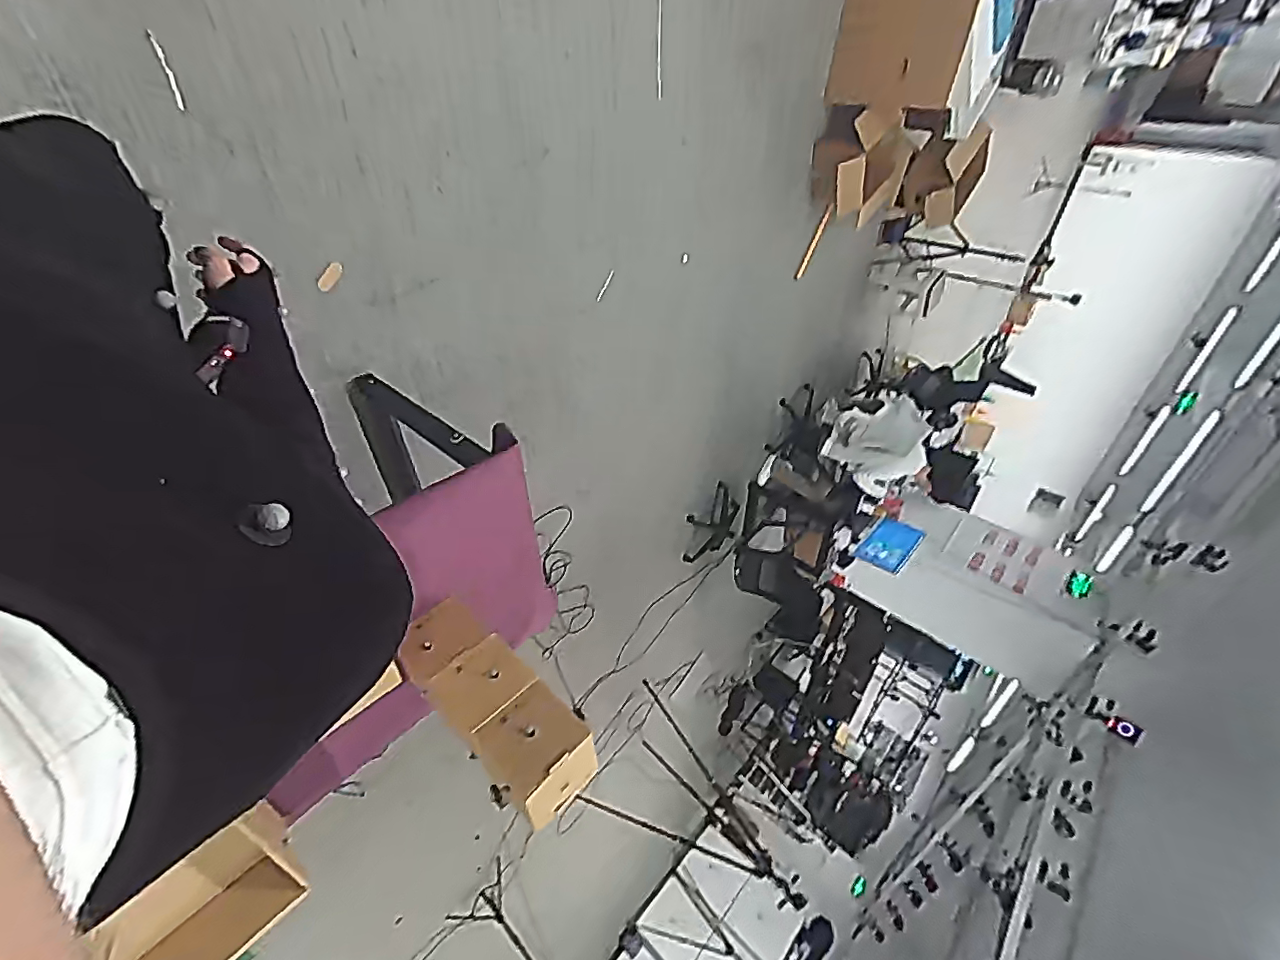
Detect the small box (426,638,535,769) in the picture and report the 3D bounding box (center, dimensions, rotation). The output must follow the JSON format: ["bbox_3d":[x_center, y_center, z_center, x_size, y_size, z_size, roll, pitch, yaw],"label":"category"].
[{"bbox_3d":[-0.338,0.473,1.172,0.168,0.176,0.179,-34,140,-35],"label":"small box"}]

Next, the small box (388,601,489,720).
[{"bbox_3d":[-0.458,0.409,1.260,0.168,0.176,0.179,-33,139,-35],"label":"small box"}]

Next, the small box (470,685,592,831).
[{"bbox_3d":[-0.218,0.547,1.088,0.168,0.176,0.179,-34,139,-34],"label":"small box"}]
